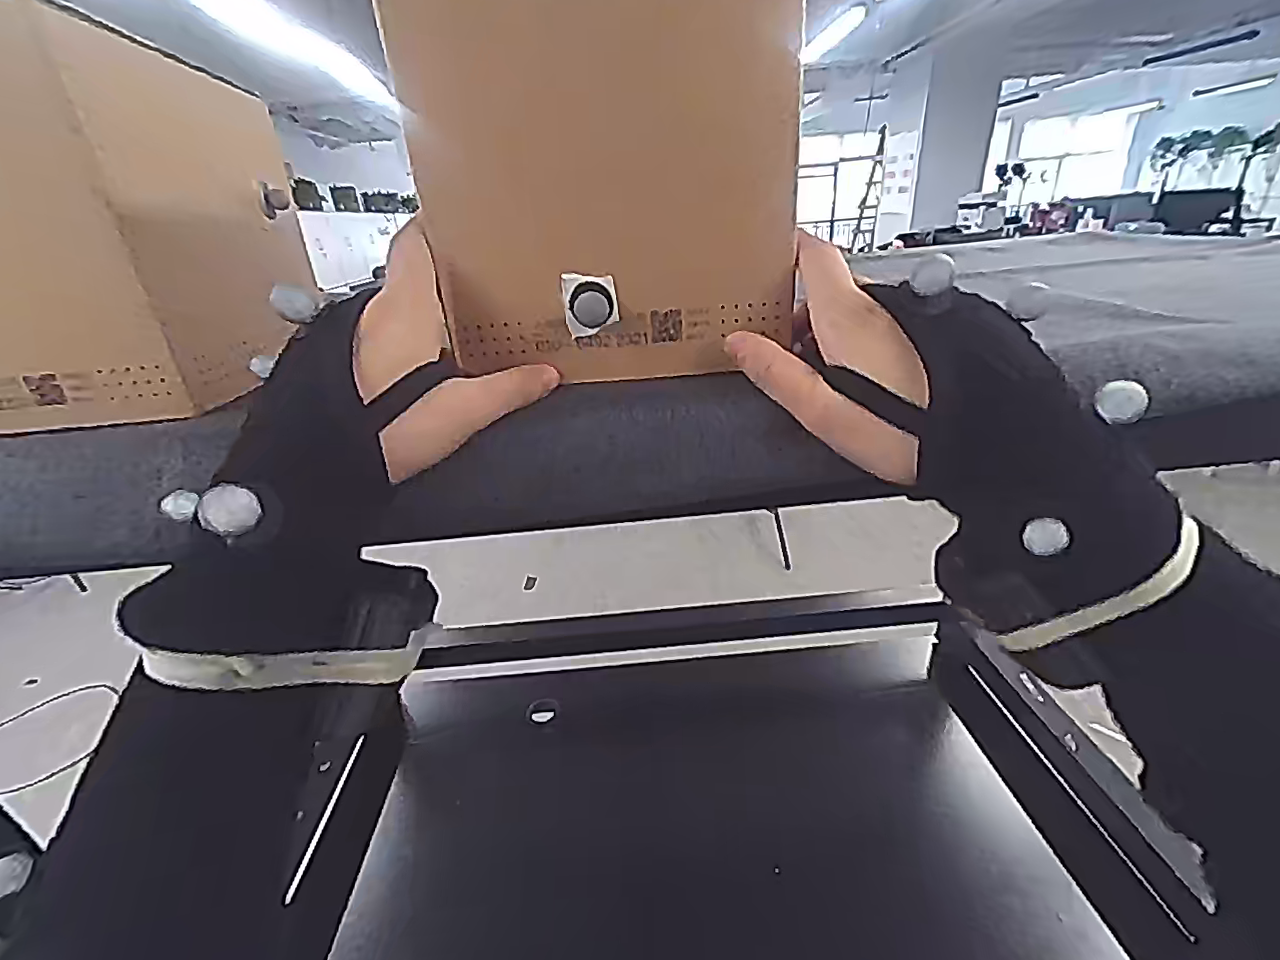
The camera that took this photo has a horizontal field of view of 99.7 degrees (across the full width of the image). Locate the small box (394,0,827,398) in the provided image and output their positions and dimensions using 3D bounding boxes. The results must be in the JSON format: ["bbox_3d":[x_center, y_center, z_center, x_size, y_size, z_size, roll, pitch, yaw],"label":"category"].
[{"bbox_3d":[-0.009,-0.151,0.304,0.168,0.176,0.179,-5,25,0],"label":"small box"}]
